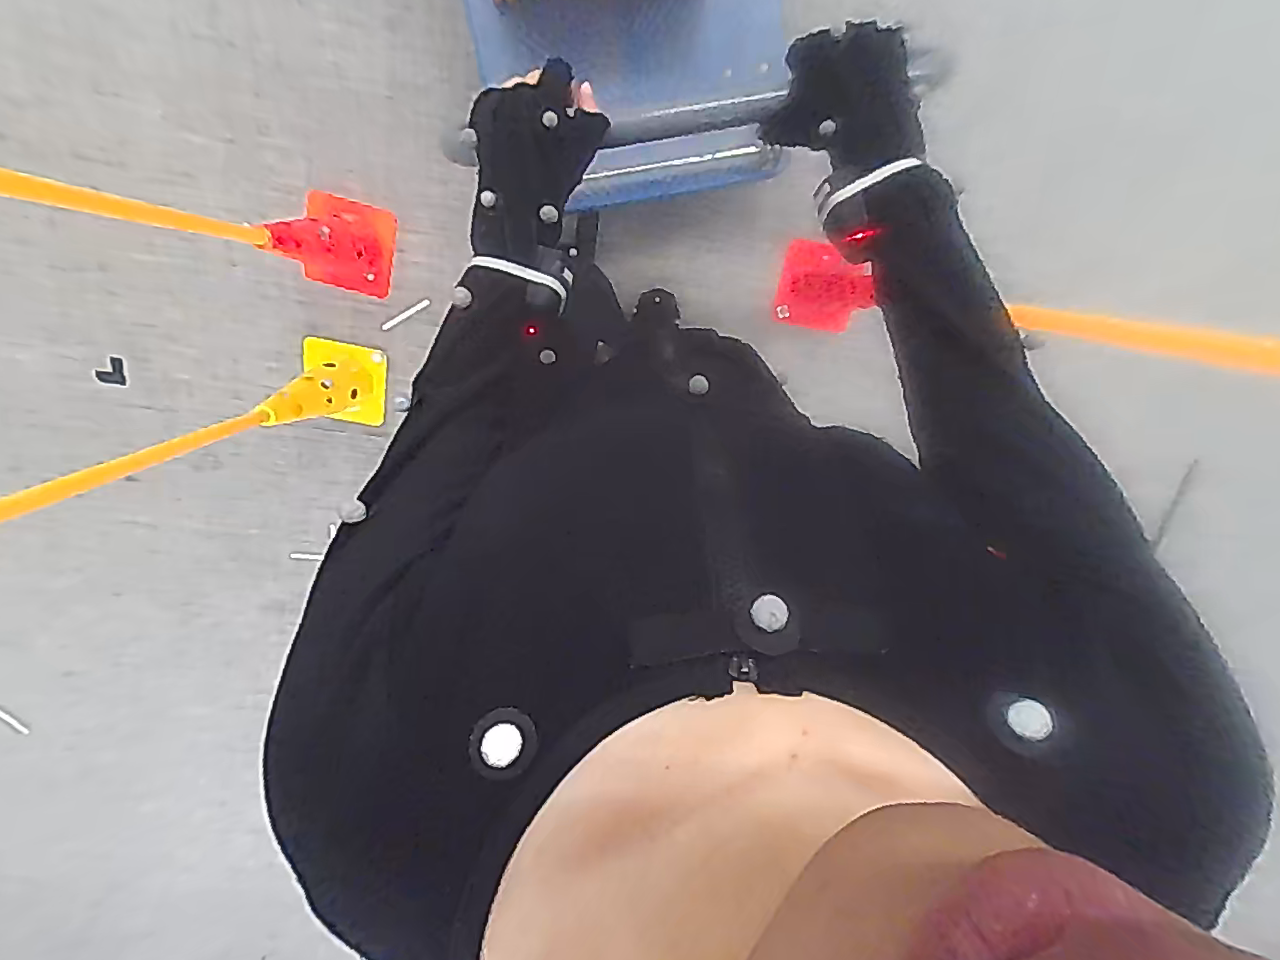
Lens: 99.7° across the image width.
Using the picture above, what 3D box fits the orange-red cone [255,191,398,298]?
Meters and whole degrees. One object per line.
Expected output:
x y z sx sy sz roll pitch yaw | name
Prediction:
-0.670 -0.493 1.112 0.198 0.360 0.199 14 108 -9 | orange-red cone

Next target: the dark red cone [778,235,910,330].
0.460 -0.423 1.170 0.201 0.394 0.202 7 111 -7 | dark red cone
